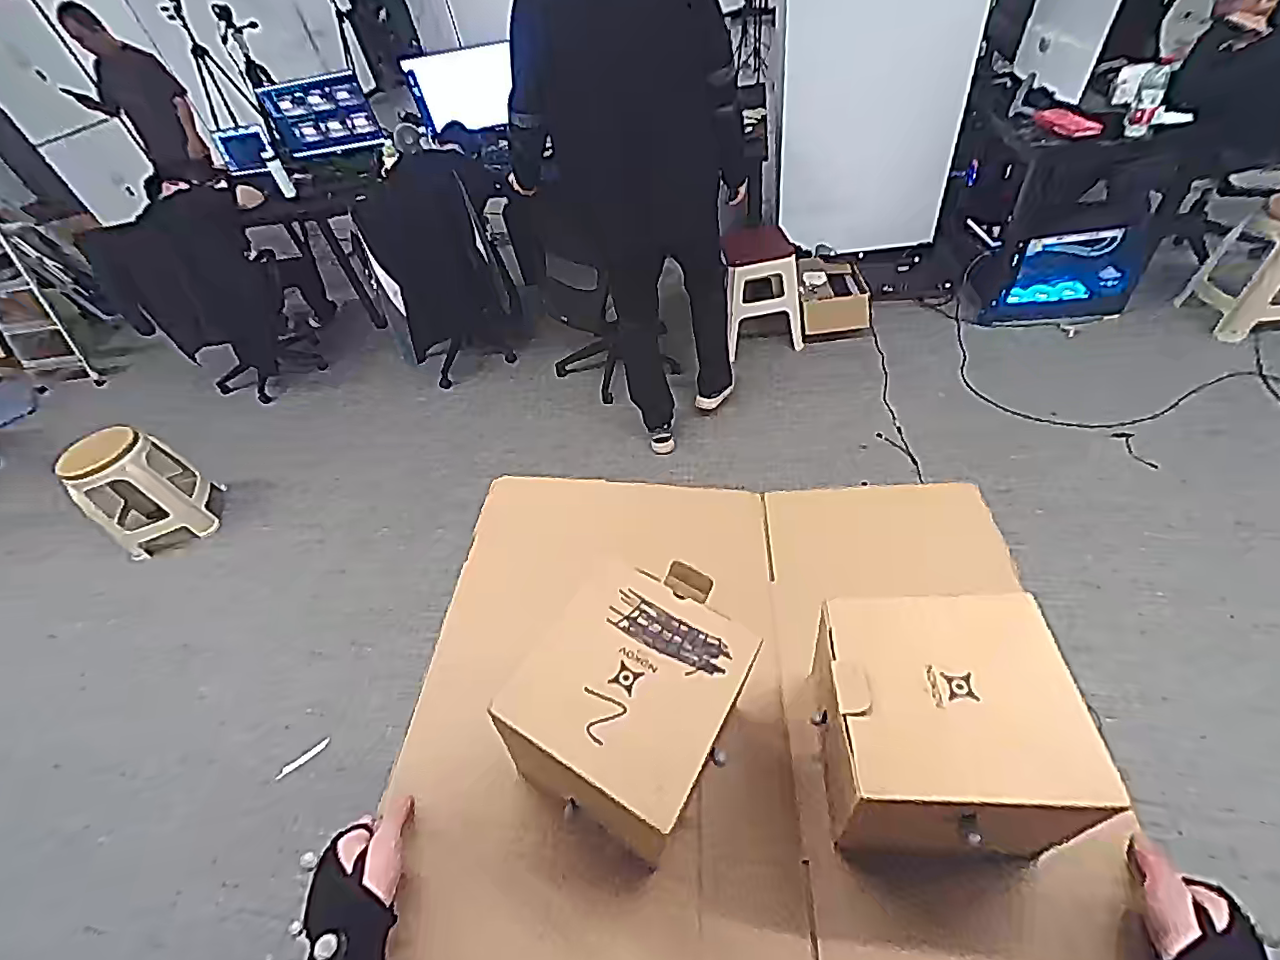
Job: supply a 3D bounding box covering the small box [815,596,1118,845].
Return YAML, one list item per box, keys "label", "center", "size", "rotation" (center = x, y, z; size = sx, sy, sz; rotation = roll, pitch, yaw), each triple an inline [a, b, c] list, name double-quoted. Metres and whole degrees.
- label: "small box"
  center: [0.266, 0.222, 0.498]
  size: [0.179, 0.176, 0.168]
  rotation: [-4, 46, 10]
